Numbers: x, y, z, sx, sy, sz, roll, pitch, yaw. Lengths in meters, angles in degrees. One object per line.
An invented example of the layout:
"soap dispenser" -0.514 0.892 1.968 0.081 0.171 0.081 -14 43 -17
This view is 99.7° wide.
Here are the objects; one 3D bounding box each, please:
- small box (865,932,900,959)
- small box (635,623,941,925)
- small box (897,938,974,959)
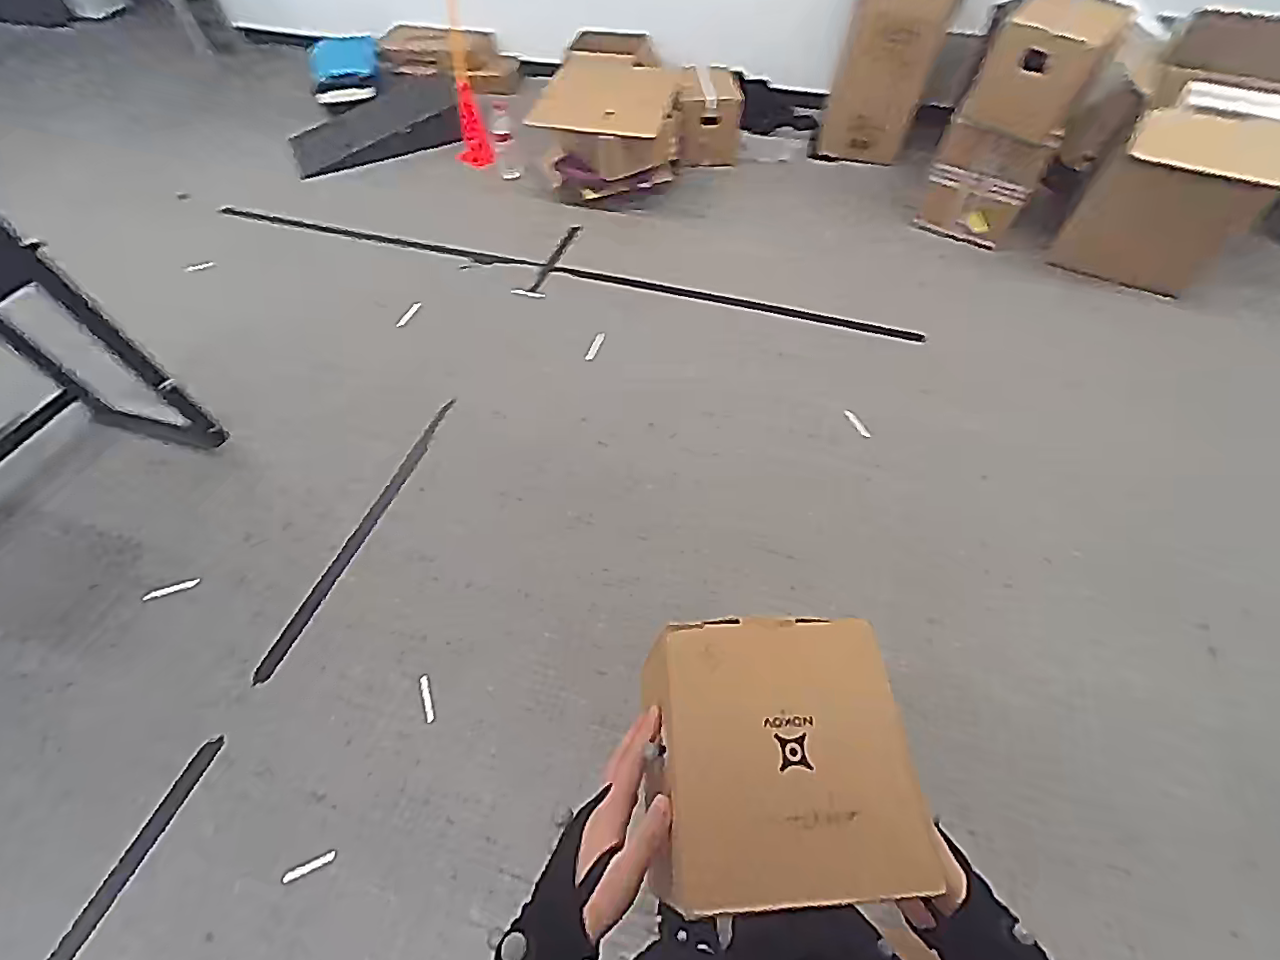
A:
"small box" 0.523 0.981 1.001 0.168 0.176 0.179 15 57 11
"small box" 0.089 0.226 0.431 0.168 0.176 0.179 0 58 -8
"small box" 0.521 0.881 0.870 0.168 0.176 0.179 17 57 13
